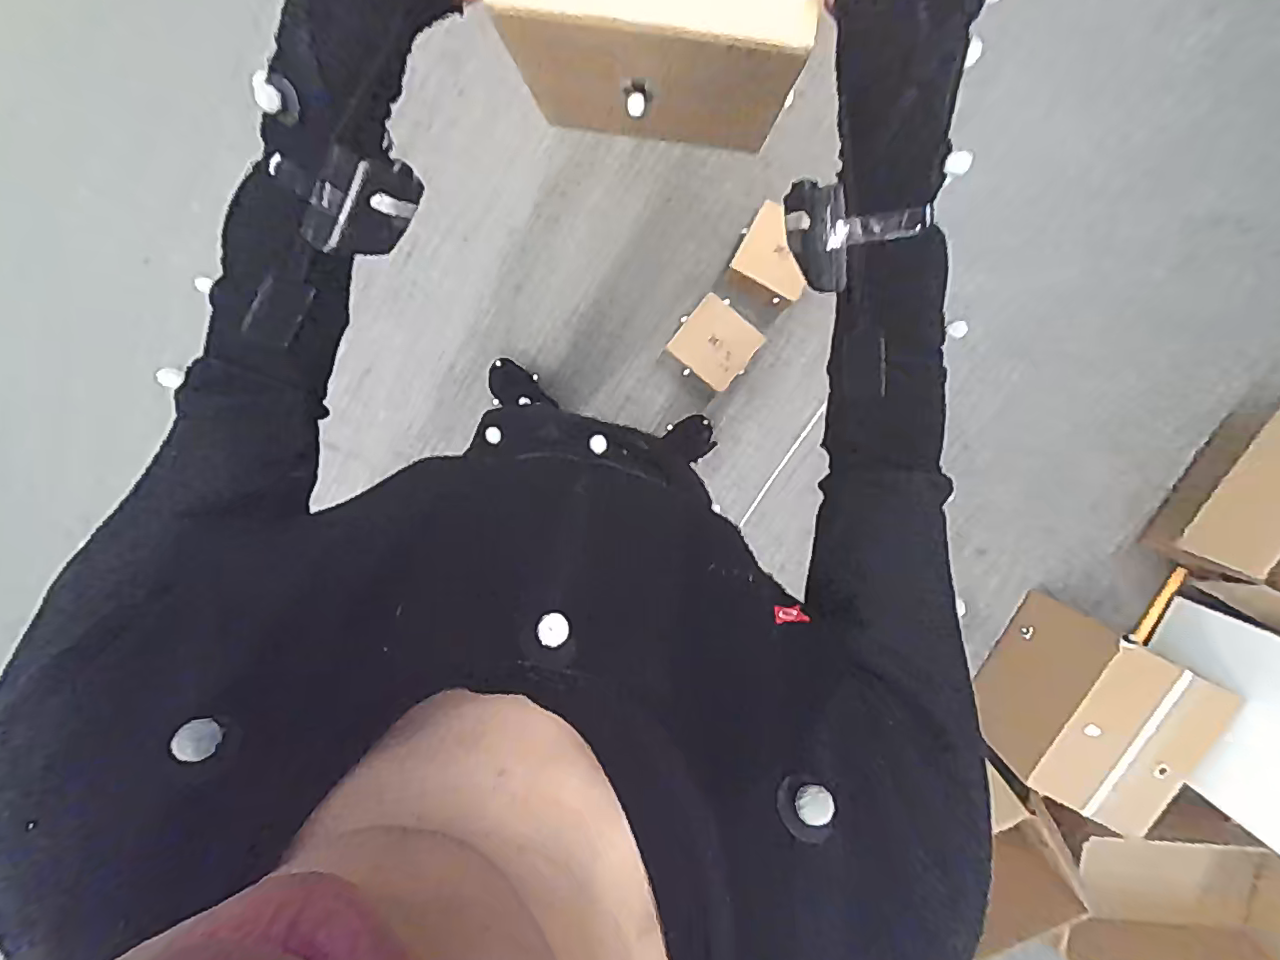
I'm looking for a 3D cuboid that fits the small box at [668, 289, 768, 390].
[{"bbox_3d":[0.183,-0.333,1.327,0.179,0.176,0.168,39,99,-4],"label":"small box"}]

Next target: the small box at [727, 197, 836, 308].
[{"bbox_3d":[0.326,-0.530,1.291,0.179,0.176,0.168,28,99,-3],"label":"small box"}]
